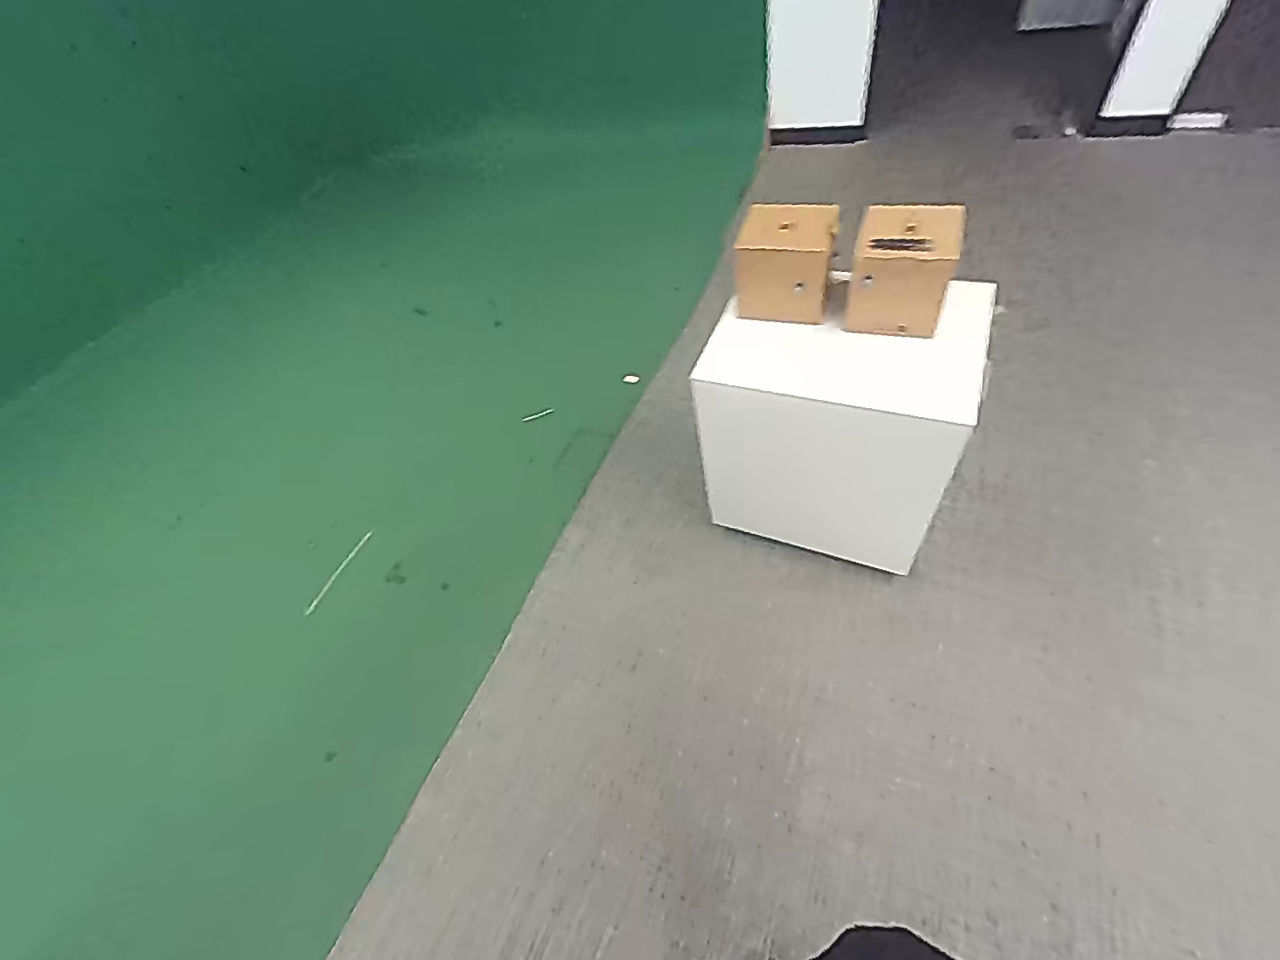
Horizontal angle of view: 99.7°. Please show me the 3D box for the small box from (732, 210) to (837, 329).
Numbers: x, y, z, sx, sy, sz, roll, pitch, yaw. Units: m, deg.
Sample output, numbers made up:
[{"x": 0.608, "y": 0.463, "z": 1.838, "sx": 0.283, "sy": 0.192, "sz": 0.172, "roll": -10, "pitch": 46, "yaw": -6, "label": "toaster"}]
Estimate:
[{"x": 0.297, "y": -0.433, "z": 1.120, "sx": 0.179, "sy": 0.176, "sz": 0.168, "roll": 10, "pitch": 55, "yaw": 20, "label": "small box"}]
